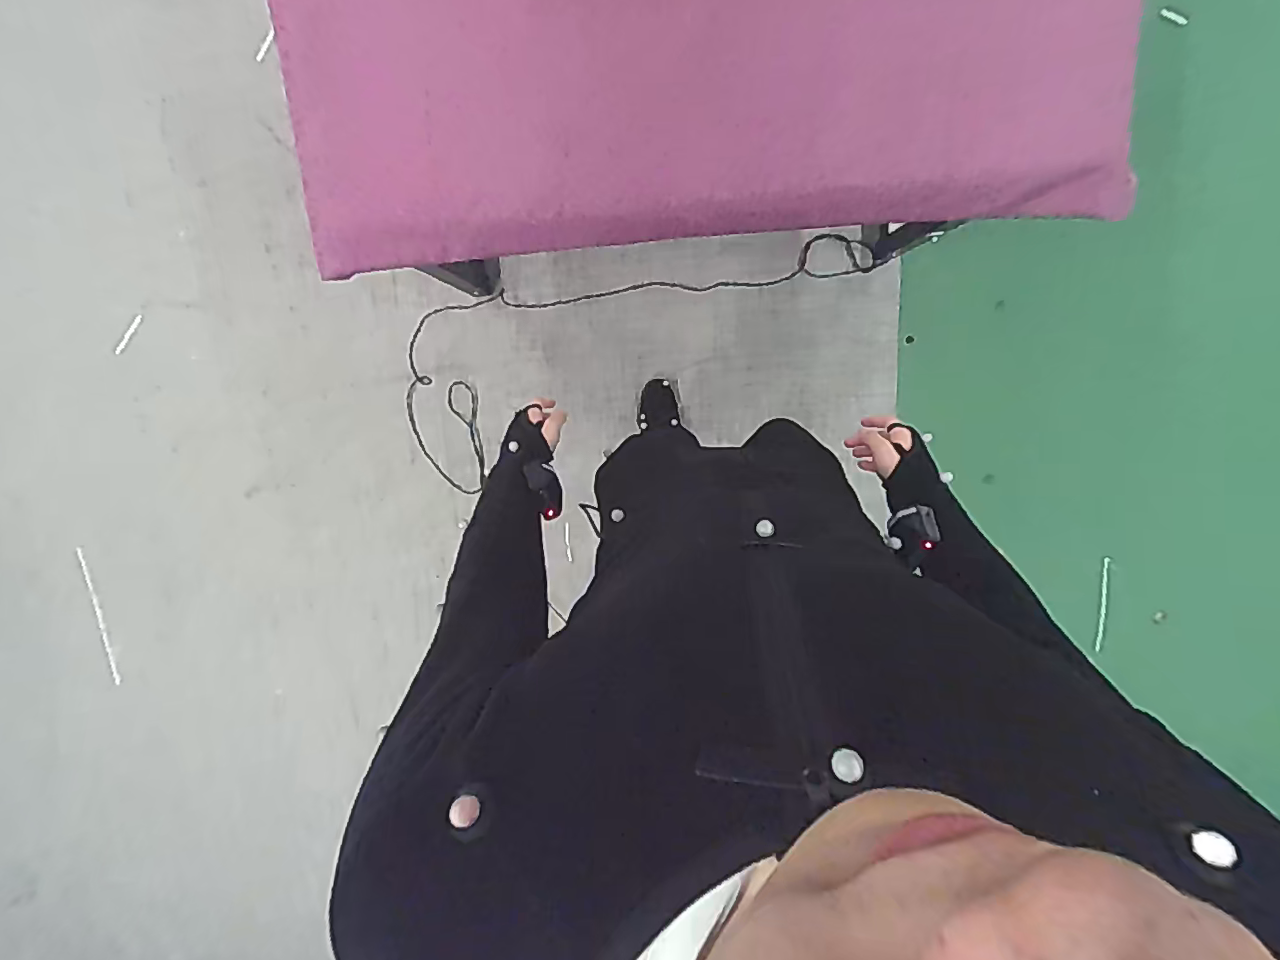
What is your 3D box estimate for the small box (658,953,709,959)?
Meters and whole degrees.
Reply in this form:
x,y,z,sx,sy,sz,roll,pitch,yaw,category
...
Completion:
x,y,z,sx,sy,sz,roll,pitch,yaw,category
0.141,1.578,1.622,0.168,0.176,0.179,-5,101,0,small box
